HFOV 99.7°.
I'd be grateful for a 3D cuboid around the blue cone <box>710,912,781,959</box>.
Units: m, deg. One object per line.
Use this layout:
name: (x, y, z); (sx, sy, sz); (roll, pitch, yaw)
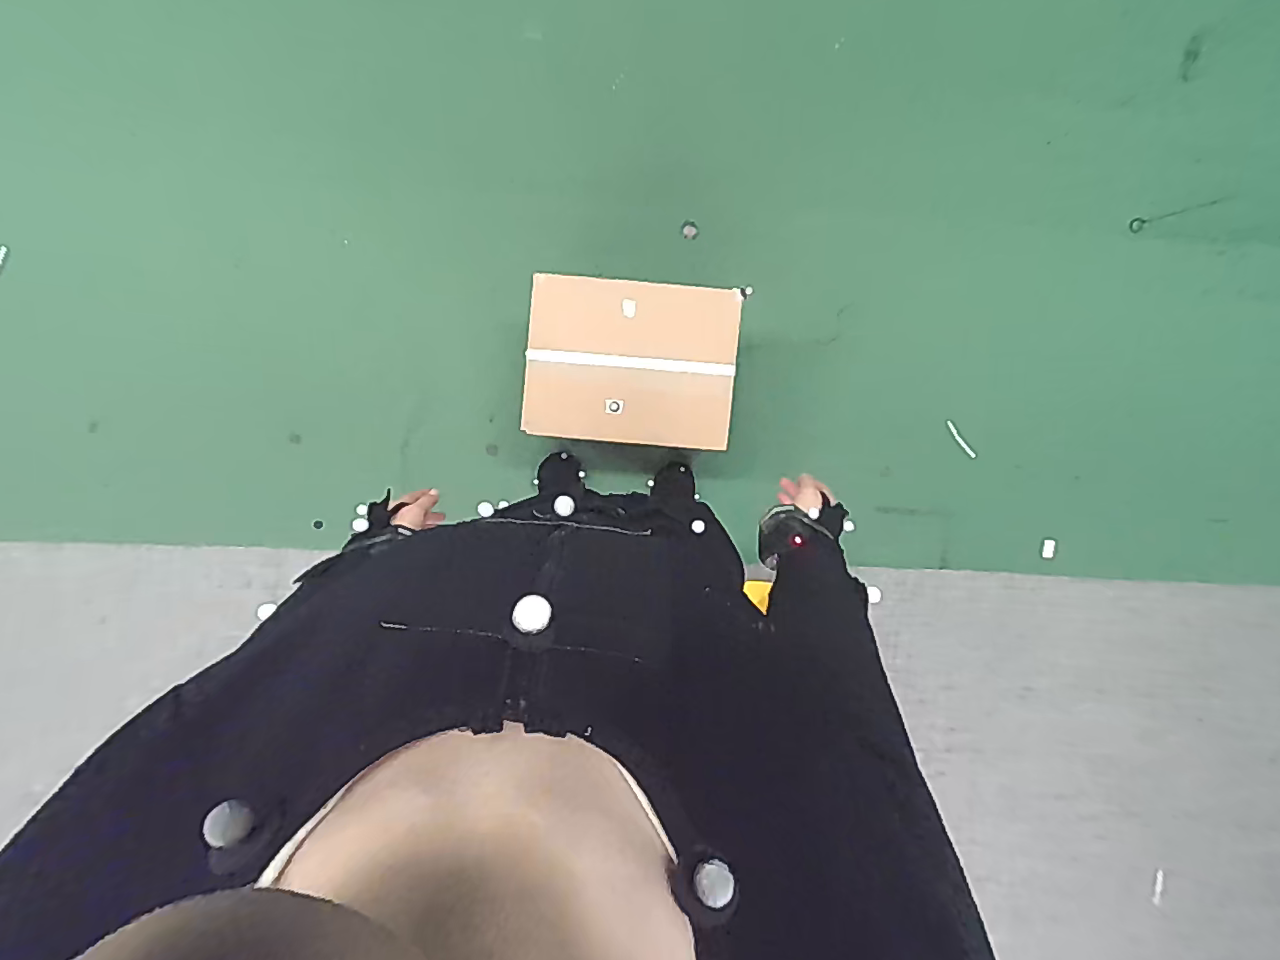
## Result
blue cone: (0.287, 1.274, 1.301); (0.192, 0.380, 0.193); (3, 96, -1)
